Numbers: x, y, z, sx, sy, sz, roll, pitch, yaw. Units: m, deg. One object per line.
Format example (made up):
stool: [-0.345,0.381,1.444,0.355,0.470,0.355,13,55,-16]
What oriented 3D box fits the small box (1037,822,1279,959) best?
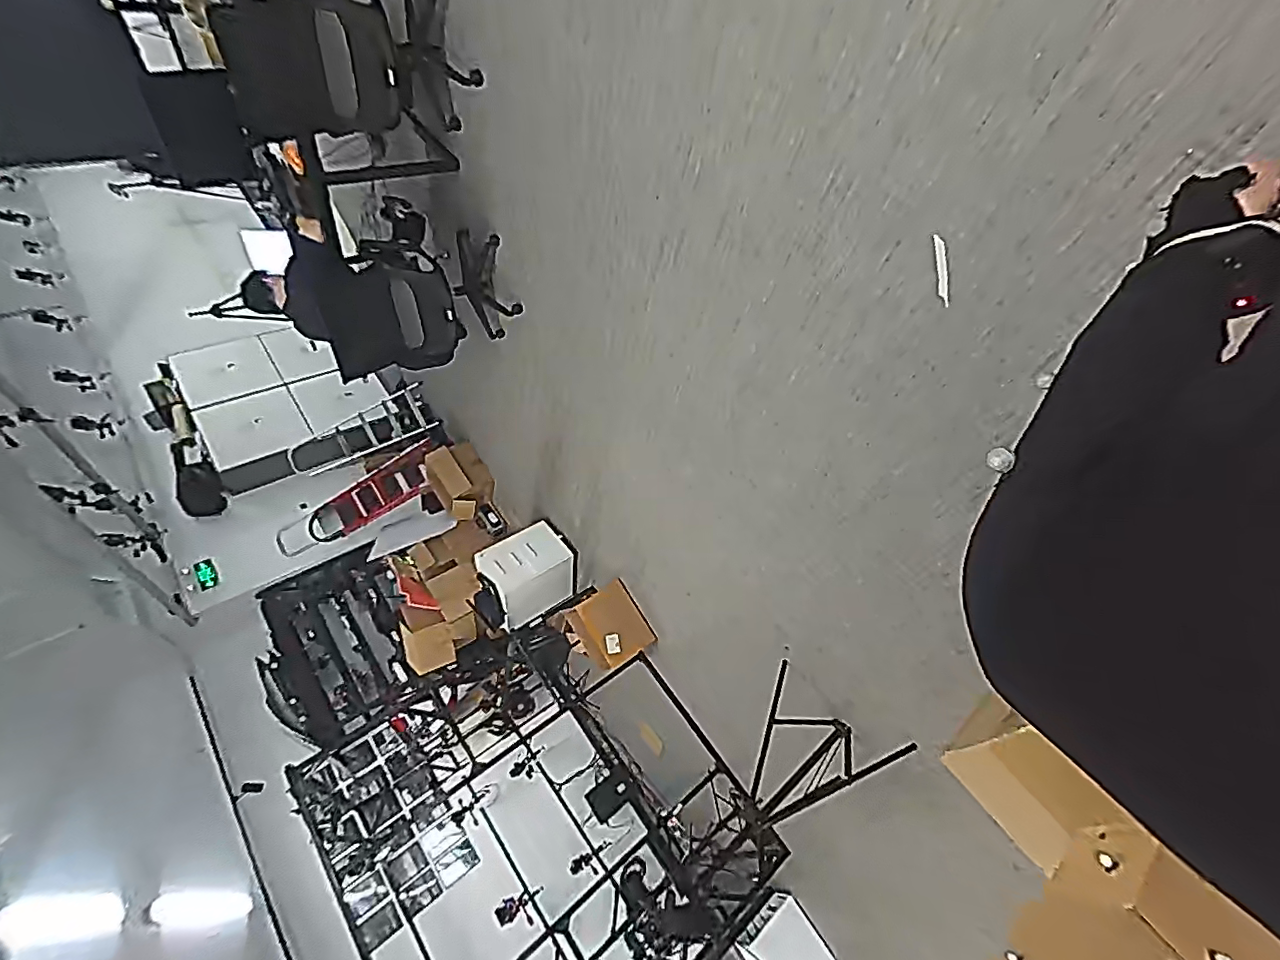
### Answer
small box: [0.723,0.612,0.756,0.179,0.176,0.168,48,147,22]
